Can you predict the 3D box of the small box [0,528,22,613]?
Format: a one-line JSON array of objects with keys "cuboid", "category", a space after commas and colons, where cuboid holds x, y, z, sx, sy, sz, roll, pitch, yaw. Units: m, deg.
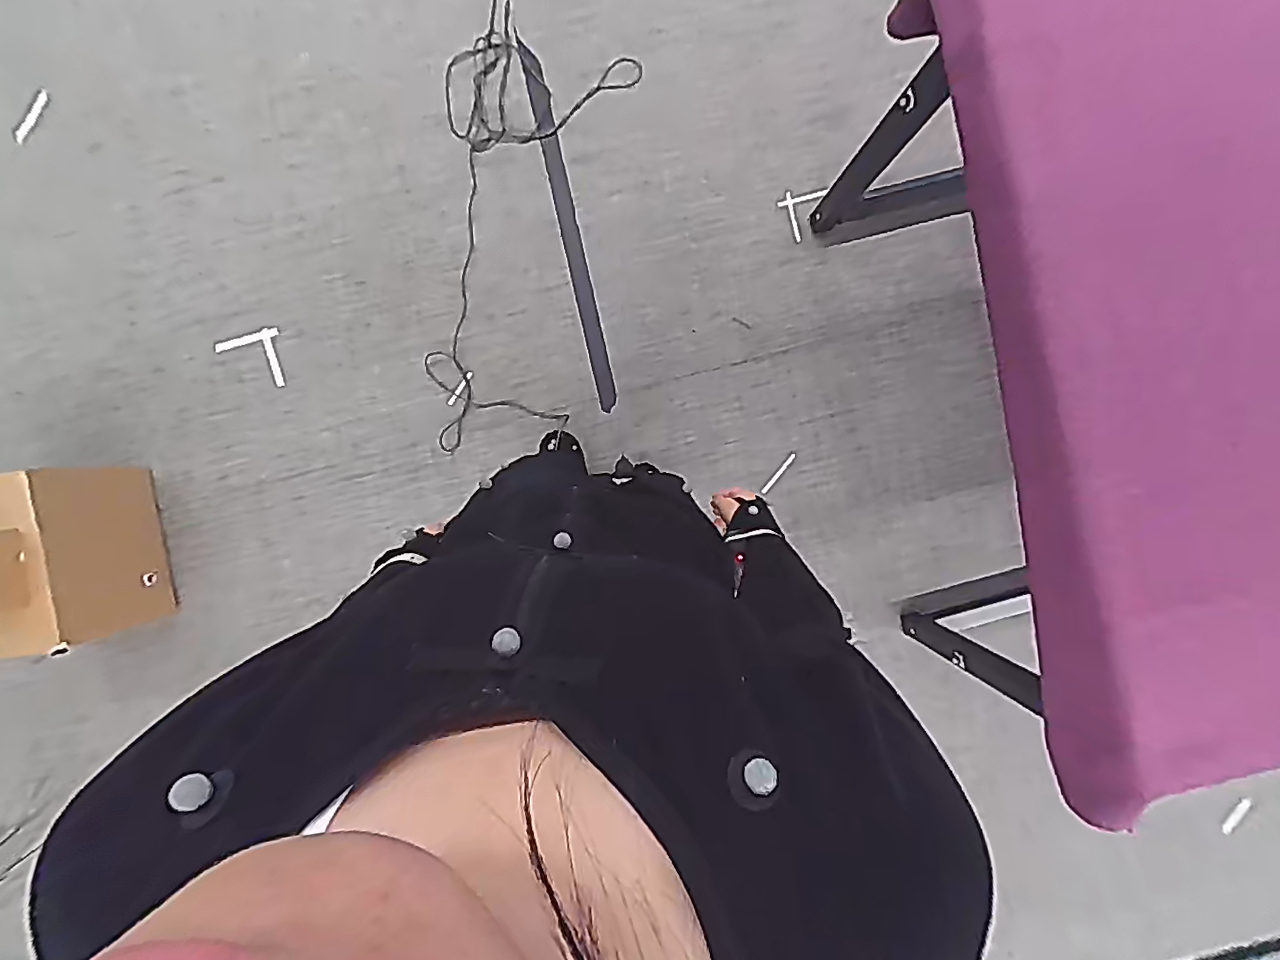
[{"cuboid": [-1.406, 0.199, 1.077, 0.168, 0.176, 0.179, -6, 92, -2], "category": "small box"}]
